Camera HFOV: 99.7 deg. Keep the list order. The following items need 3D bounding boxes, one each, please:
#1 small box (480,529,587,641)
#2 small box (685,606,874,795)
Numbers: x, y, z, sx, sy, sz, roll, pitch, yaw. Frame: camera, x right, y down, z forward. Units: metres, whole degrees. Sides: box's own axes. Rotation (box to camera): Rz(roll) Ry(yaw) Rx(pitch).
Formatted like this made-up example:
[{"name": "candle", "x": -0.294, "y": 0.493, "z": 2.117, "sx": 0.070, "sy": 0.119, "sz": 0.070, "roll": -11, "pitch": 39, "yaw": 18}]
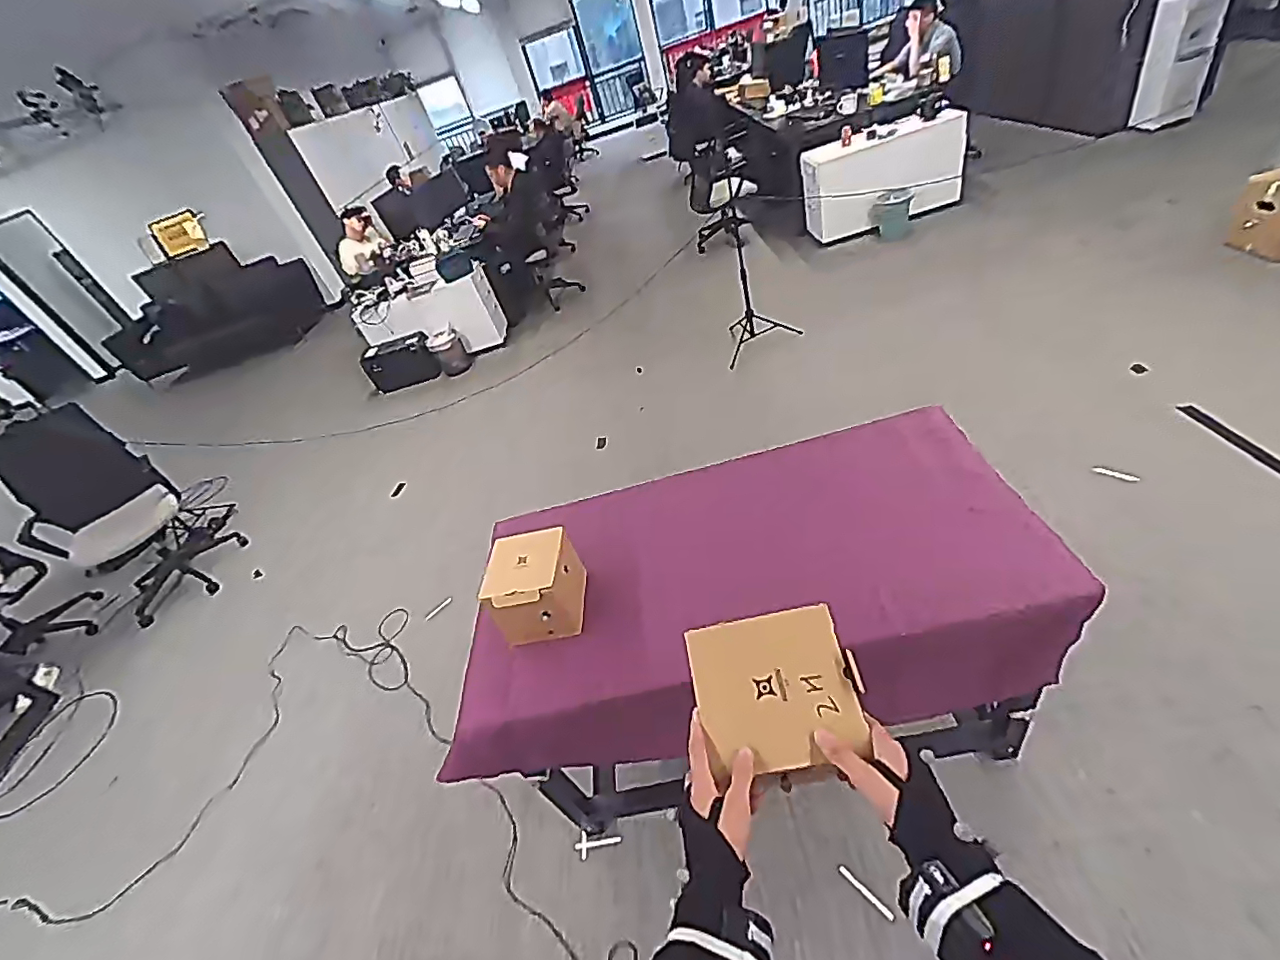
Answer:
[{"name": "small box", "x": -0.225, "y": 0.239, "z": 1.196, "sx": 0.168, "sy": 0.176, "sz": 0.179, "roll": -11, "pitch": 39, "yaw": 10}, {"name": "small box", "x": 0.164, "y": 0.276, "z": 0.663, "sx": 0.179, "sy": 0.176, "sz": 0.168, "roll": -13, "pitch": 54, "yaw": 6}]
